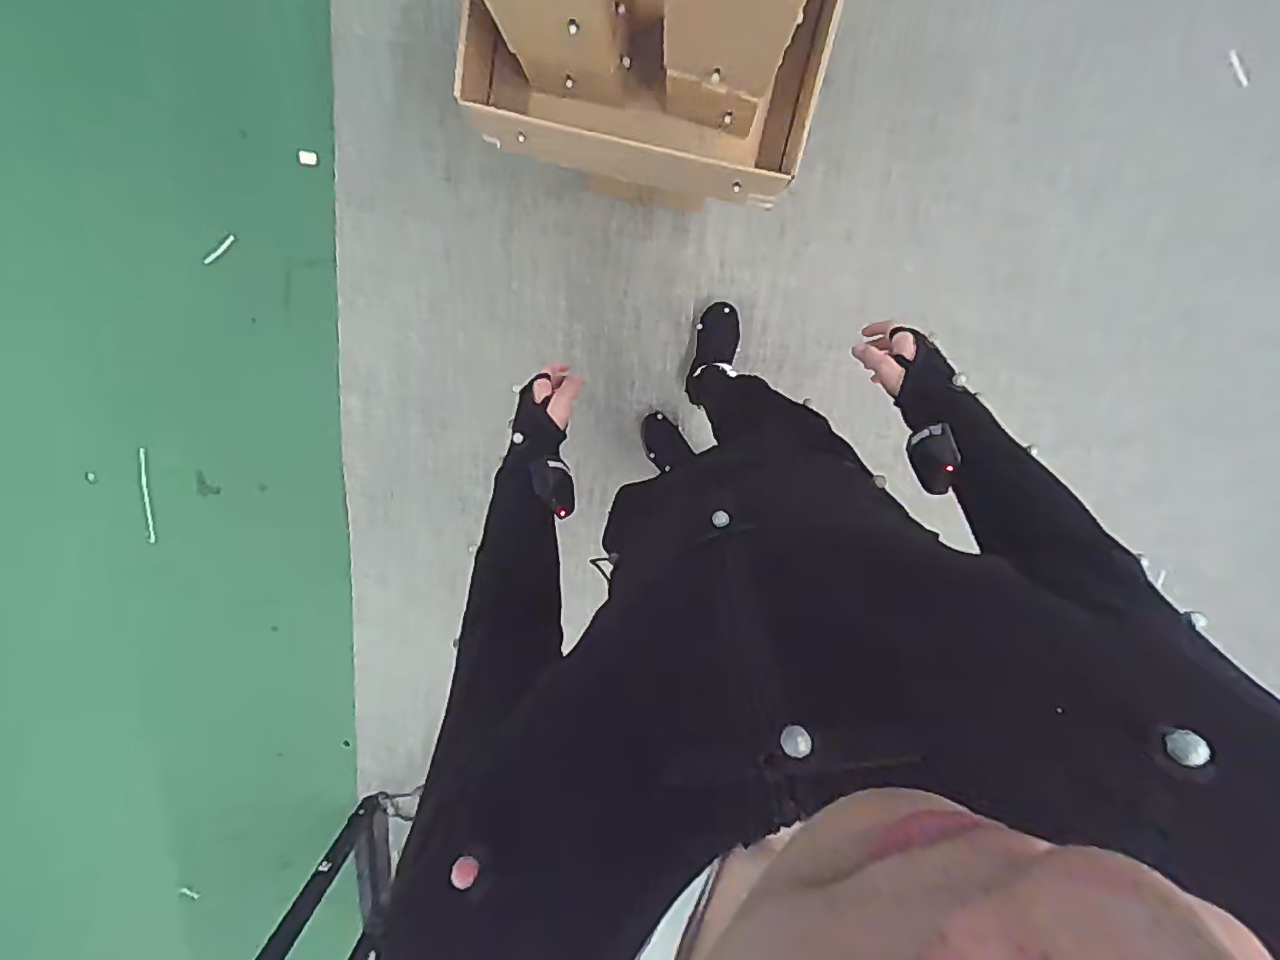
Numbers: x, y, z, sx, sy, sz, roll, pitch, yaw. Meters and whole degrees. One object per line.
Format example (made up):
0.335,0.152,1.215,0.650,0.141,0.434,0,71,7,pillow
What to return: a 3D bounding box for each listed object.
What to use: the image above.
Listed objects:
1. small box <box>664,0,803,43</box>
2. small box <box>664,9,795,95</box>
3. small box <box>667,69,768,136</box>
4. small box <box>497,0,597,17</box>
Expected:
0.129,-0.661,0.636,0.179,0.176,0.168,14,104,1,small box
0.140,-0.706,0.795,0.179,0.176,0.168,16,104,-1,small box
0.153,-0.745,0.953,0.168,0.176,0.179,17,104,-1,small box
-0.129,-0.704,0.646,0.179,0.176,0.168,12,104,1,small box
